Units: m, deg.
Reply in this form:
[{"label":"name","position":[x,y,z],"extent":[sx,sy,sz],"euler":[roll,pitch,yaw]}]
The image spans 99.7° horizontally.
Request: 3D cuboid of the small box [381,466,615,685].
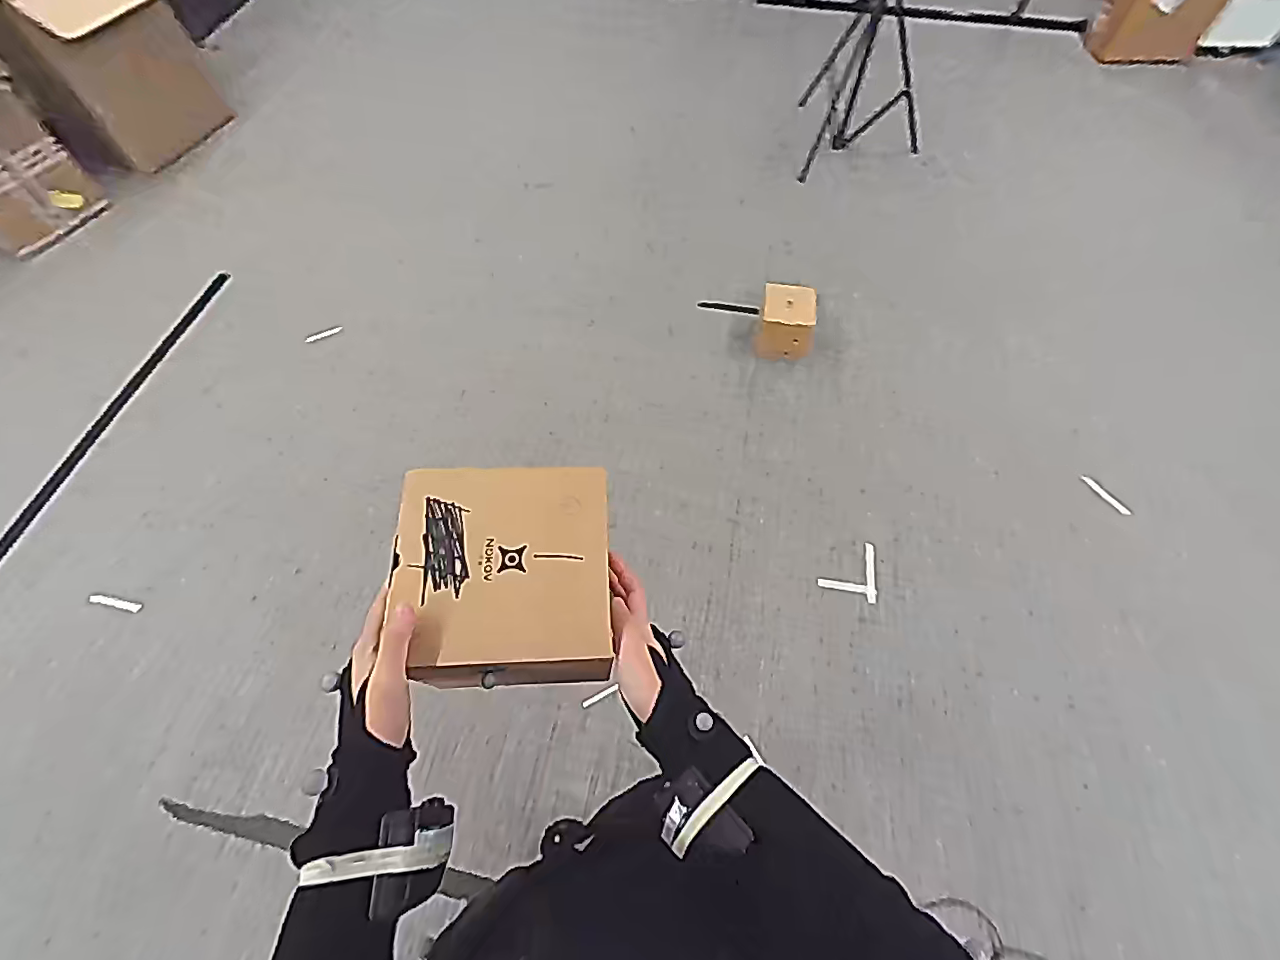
[{"label":"small box","position":[-0.113,0.097,0.509],"extent":[0.179,0.176,0.168],"euler":[0,64,-5]}]
